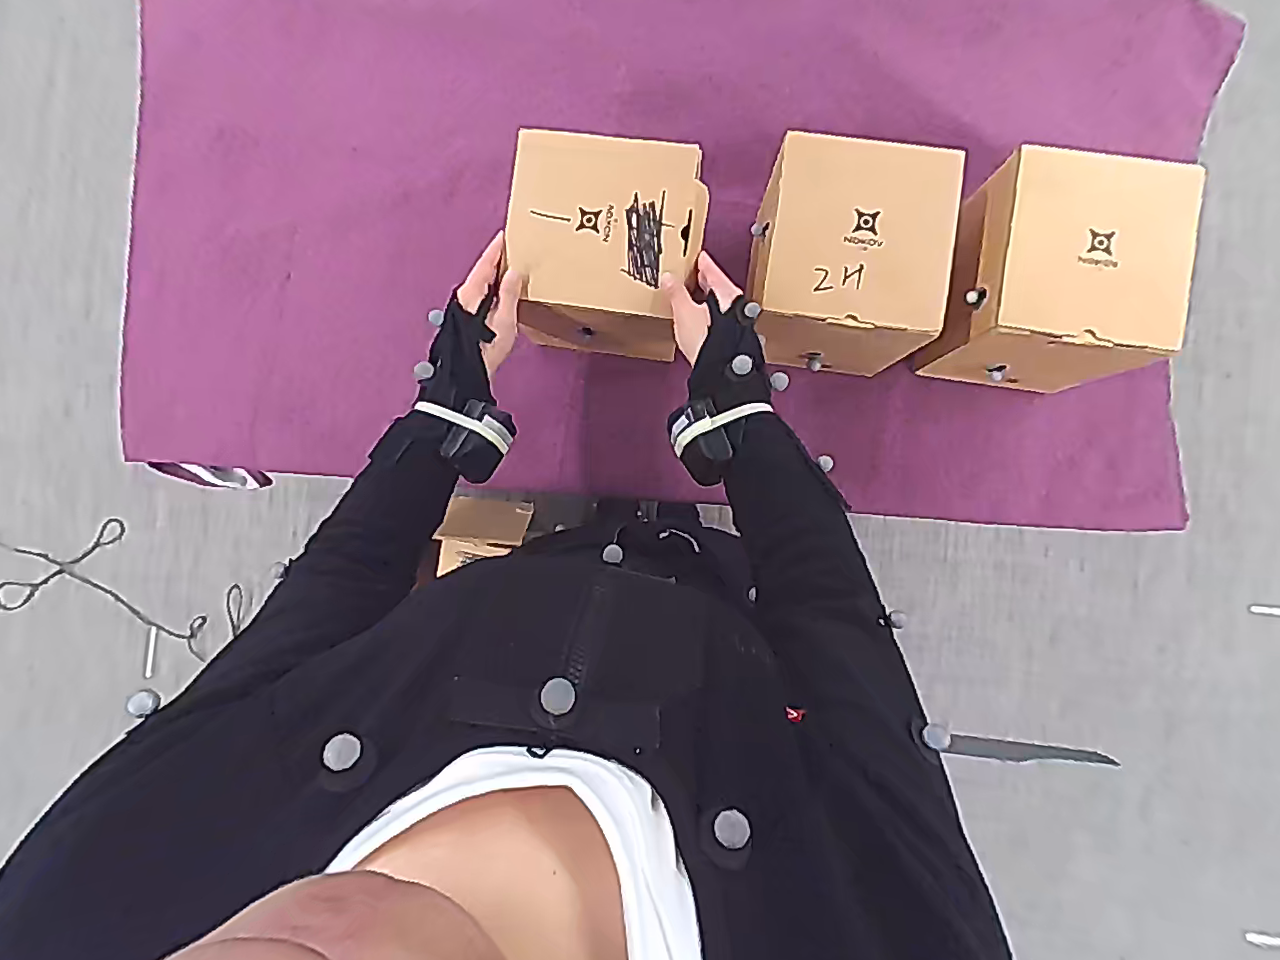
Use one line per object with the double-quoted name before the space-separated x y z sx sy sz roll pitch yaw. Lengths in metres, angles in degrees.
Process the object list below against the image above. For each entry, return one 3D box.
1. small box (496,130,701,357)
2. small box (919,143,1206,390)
"small box" -0.035 -0.238 0.587 0.179 0.176 0.168 8 90 4
"small box" 0.418 -0.206 0.565 0.168 0.176 0.179 9 88 3
